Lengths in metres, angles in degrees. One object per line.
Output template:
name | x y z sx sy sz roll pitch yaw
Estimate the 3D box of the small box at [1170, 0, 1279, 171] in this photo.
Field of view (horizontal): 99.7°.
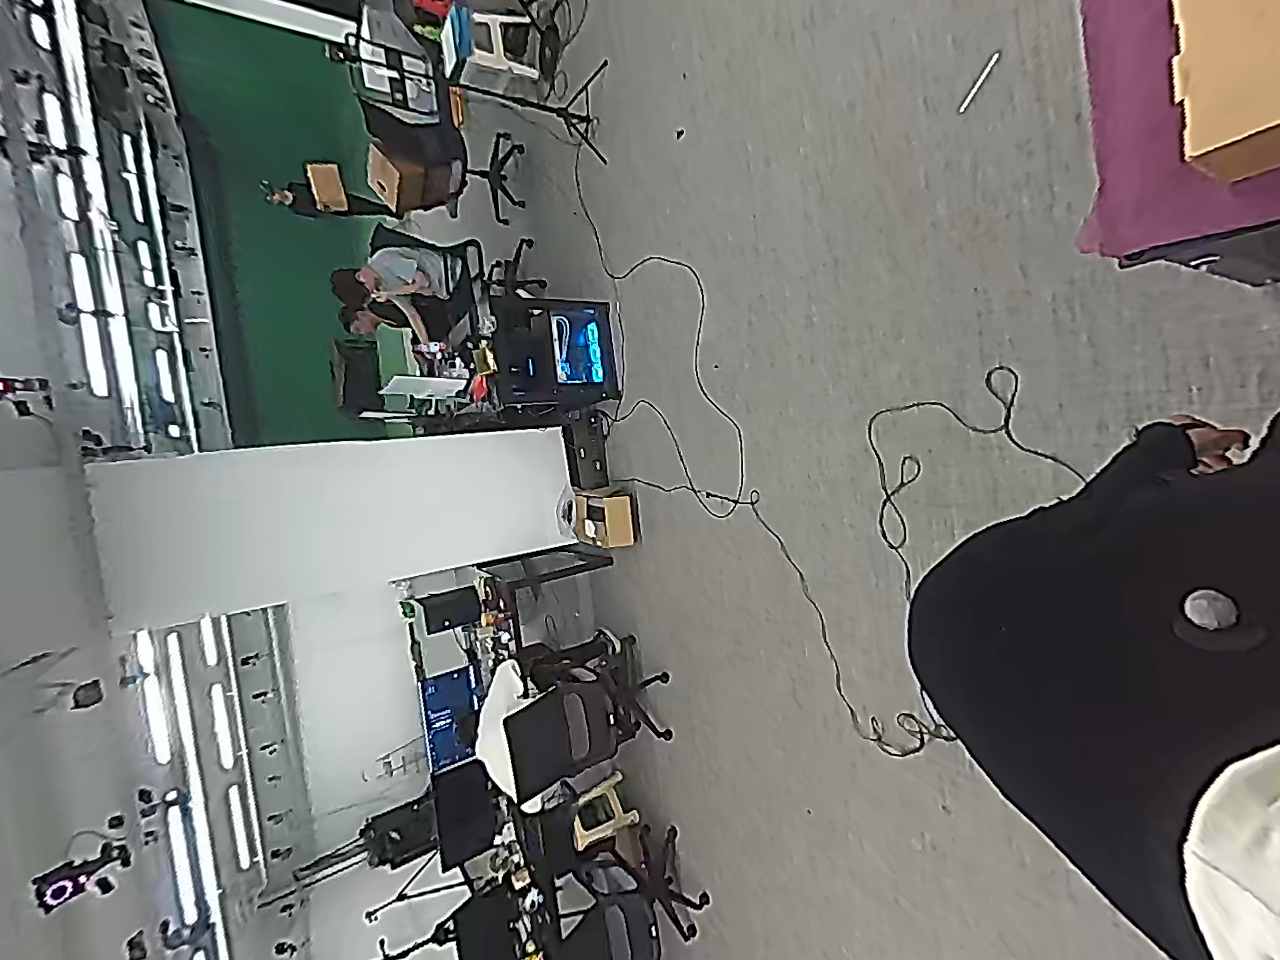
small box | 0.651 -0.423 0.512 0.179 0.176 0.168 -2 97 58
